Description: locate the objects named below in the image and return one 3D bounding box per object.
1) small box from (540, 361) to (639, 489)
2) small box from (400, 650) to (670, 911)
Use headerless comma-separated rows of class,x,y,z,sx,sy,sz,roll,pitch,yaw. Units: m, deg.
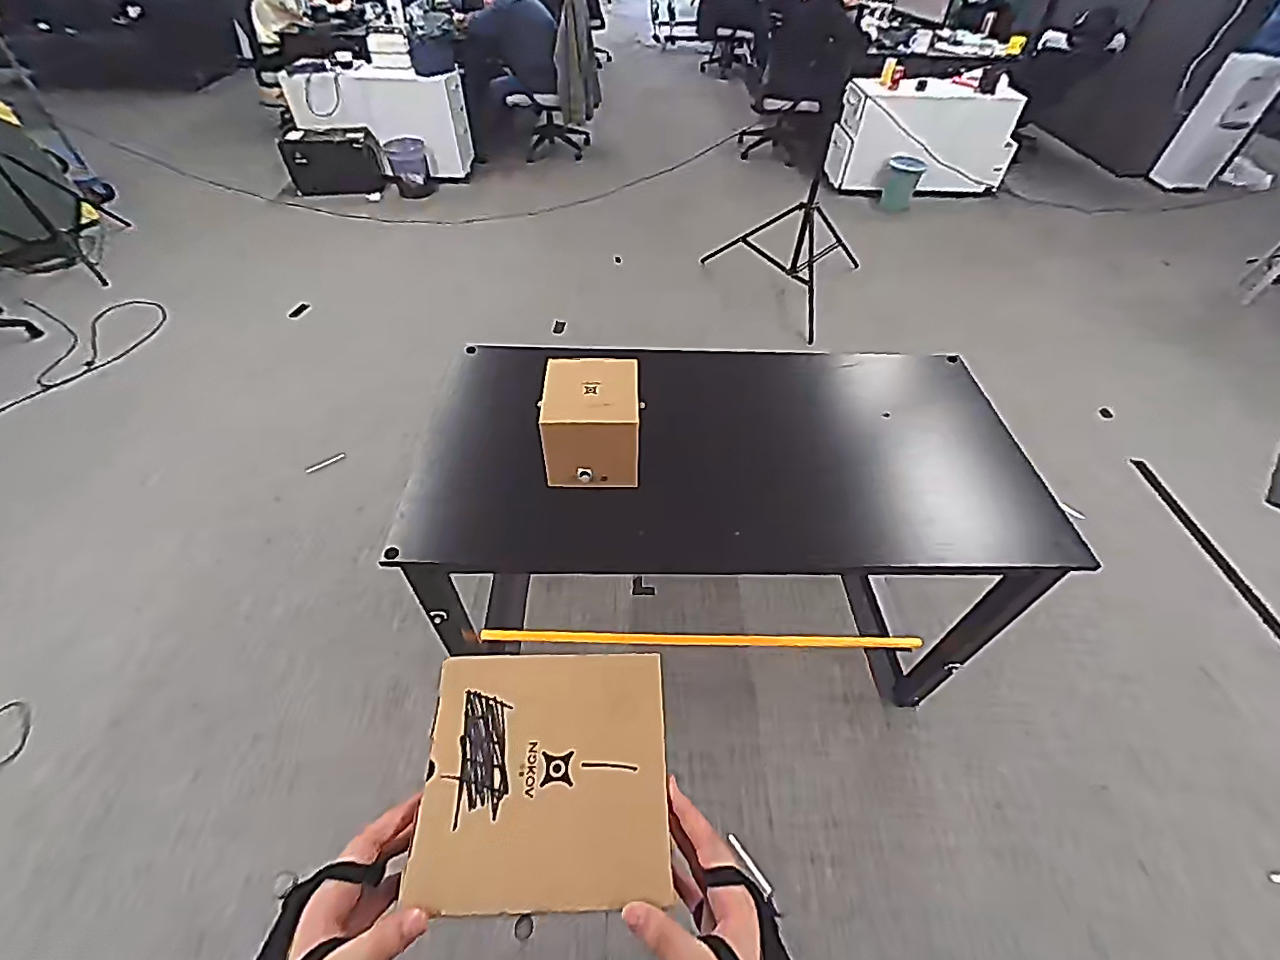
small box,-0.088,-0.101,1.003,0.168,0.176,0.179,-2,49,-2
small box,-0.070,0.255,0.455,0.179,0.176,0.168,0,52,-3
